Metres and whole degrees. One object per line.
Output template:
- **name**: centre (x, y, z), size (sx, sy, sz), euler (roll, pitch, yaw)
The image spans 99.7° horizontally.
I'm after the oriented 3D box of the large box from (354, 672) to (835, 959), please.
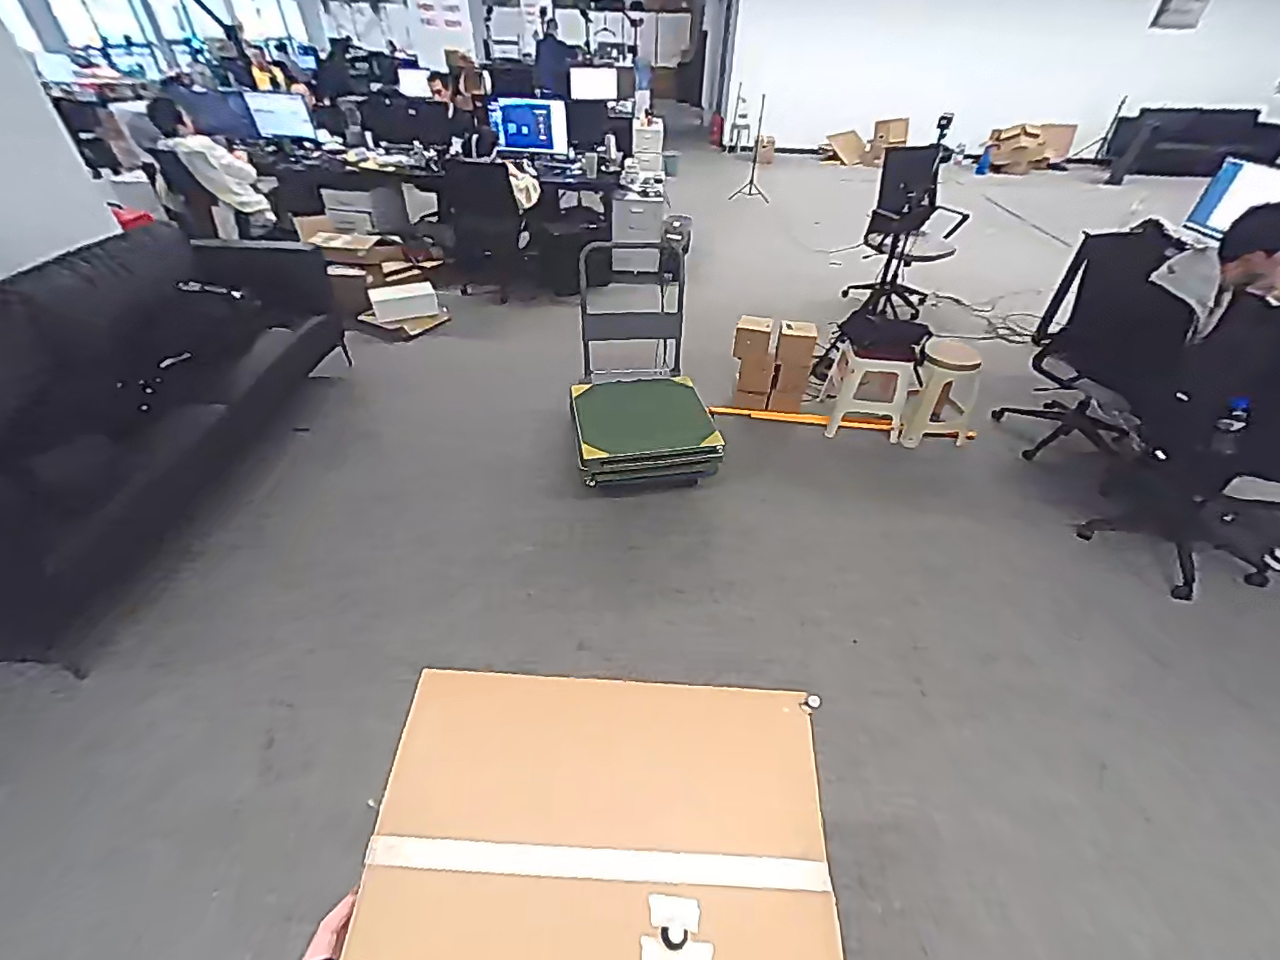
- **large box**: centre (-0.040, 0.424, 0.607), size (0.408, 0.320, 0.320), euler (3, 54, -1)
